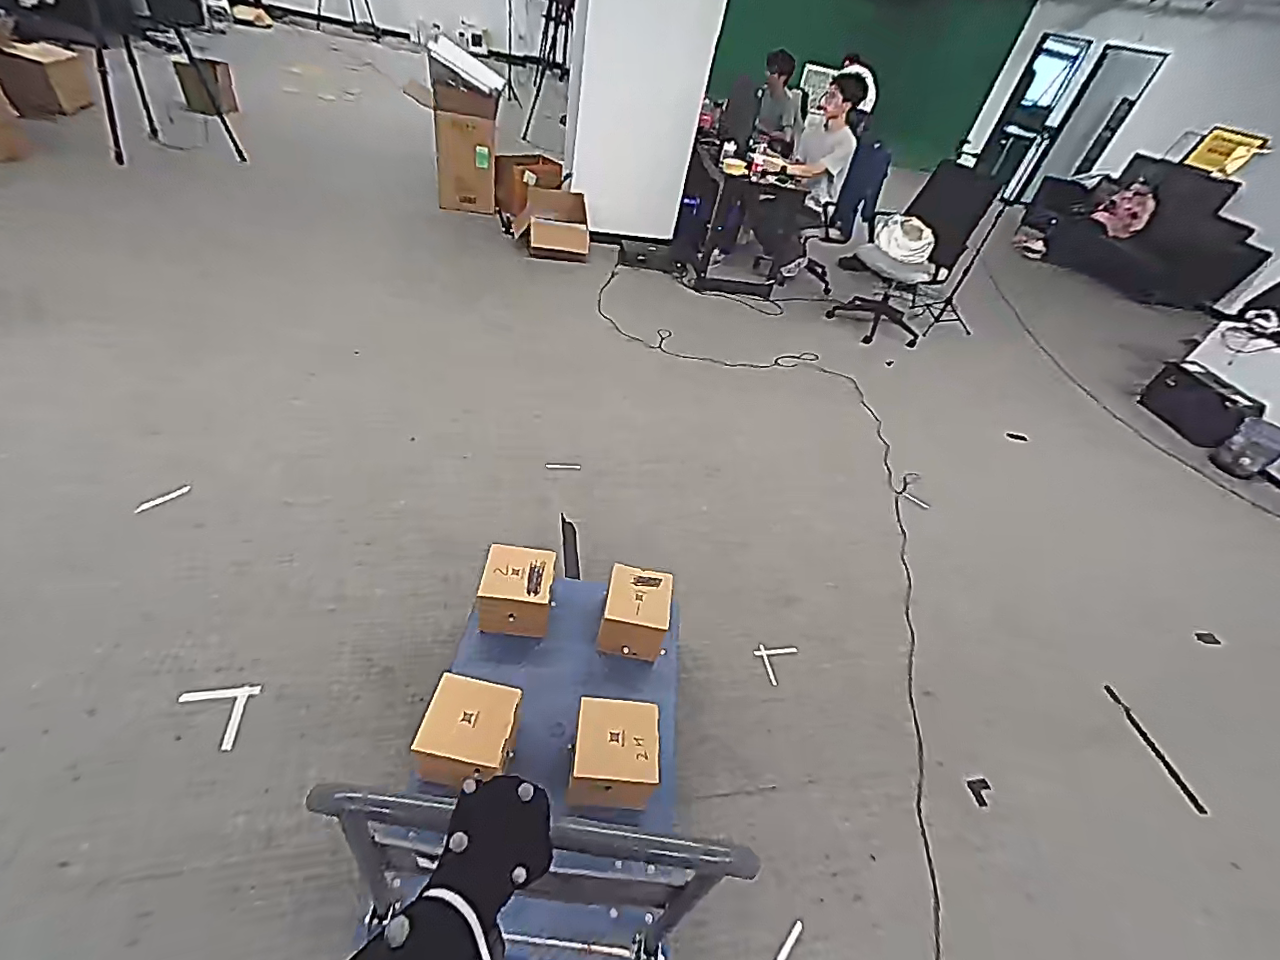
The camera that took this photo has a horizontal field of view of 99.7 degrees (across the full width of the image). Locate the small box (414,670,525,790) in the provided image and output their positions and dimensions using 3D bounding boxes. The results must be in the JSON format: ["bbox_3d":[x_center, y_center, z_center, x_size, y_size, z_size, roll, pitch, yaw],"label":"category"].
[{"bbox_3d":[-0.361,0.541,1.165,0.179,0.176,0.168,14,42,-2],"label":"small box"}]

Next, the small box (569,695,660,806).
[{"bbox_3d":[-0.057,0.596,1.186,0.179,0.176,0.168,9,43,-5],"label":"small box"}]

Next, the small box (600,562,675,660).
[{"bbox_3d":[-0.009,0.354,1.458,0.168,0.176,0.179,12,44,-2],"label":"small box"}]
